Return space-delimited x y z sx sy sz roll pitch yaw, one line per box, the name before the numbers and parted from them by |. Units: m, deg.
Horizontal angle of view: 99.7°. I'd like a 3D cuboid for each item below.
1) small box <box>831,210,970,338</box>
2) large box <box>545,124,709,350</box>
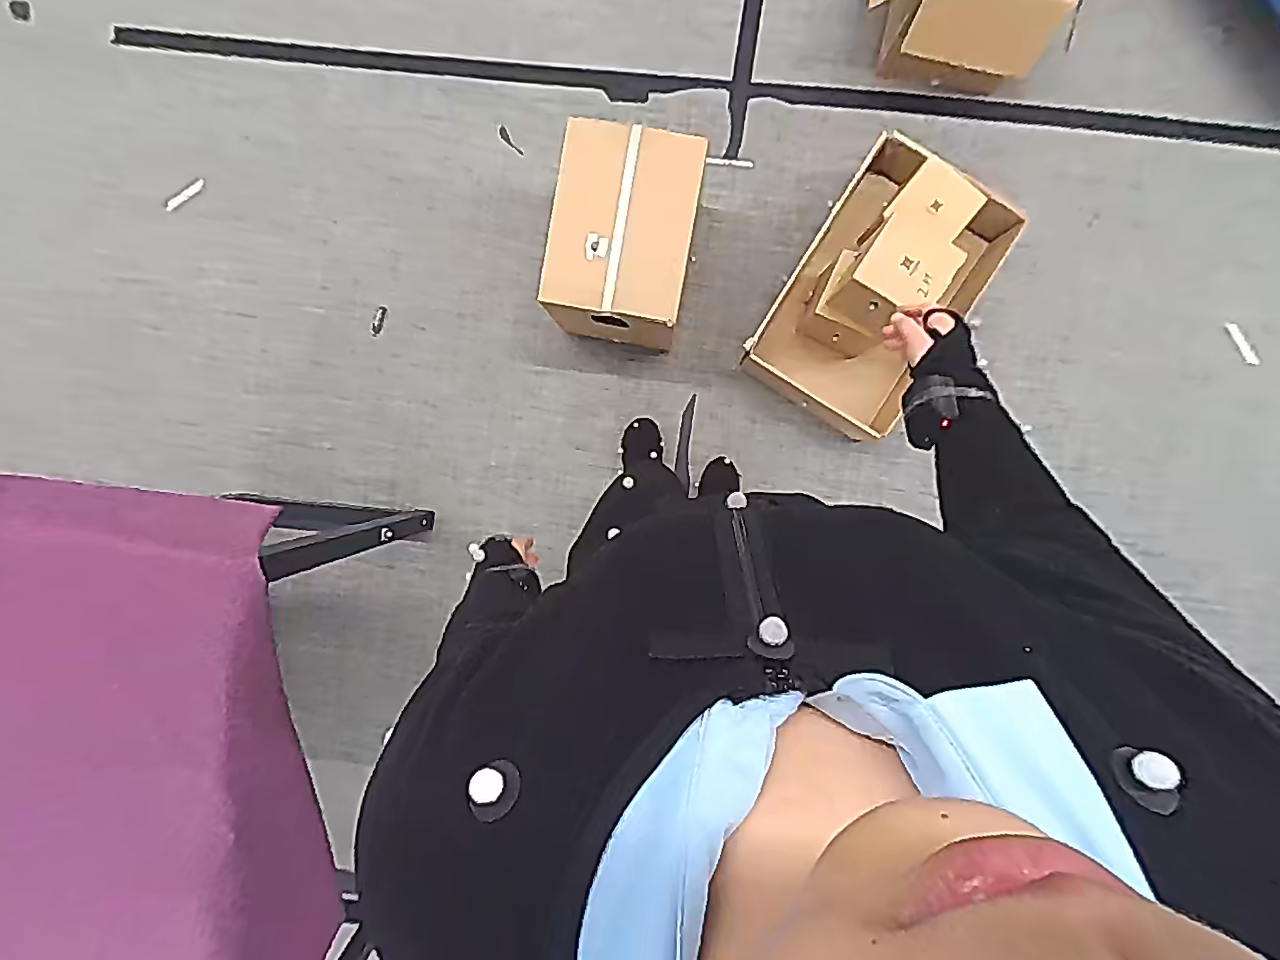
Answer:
small box | 0.544 -0.429 1.160 0.179 0.176 0.168 33 91 0
large box | -0.025 -0.564 1.322 0.320 0.320 0.408 10 94 3
